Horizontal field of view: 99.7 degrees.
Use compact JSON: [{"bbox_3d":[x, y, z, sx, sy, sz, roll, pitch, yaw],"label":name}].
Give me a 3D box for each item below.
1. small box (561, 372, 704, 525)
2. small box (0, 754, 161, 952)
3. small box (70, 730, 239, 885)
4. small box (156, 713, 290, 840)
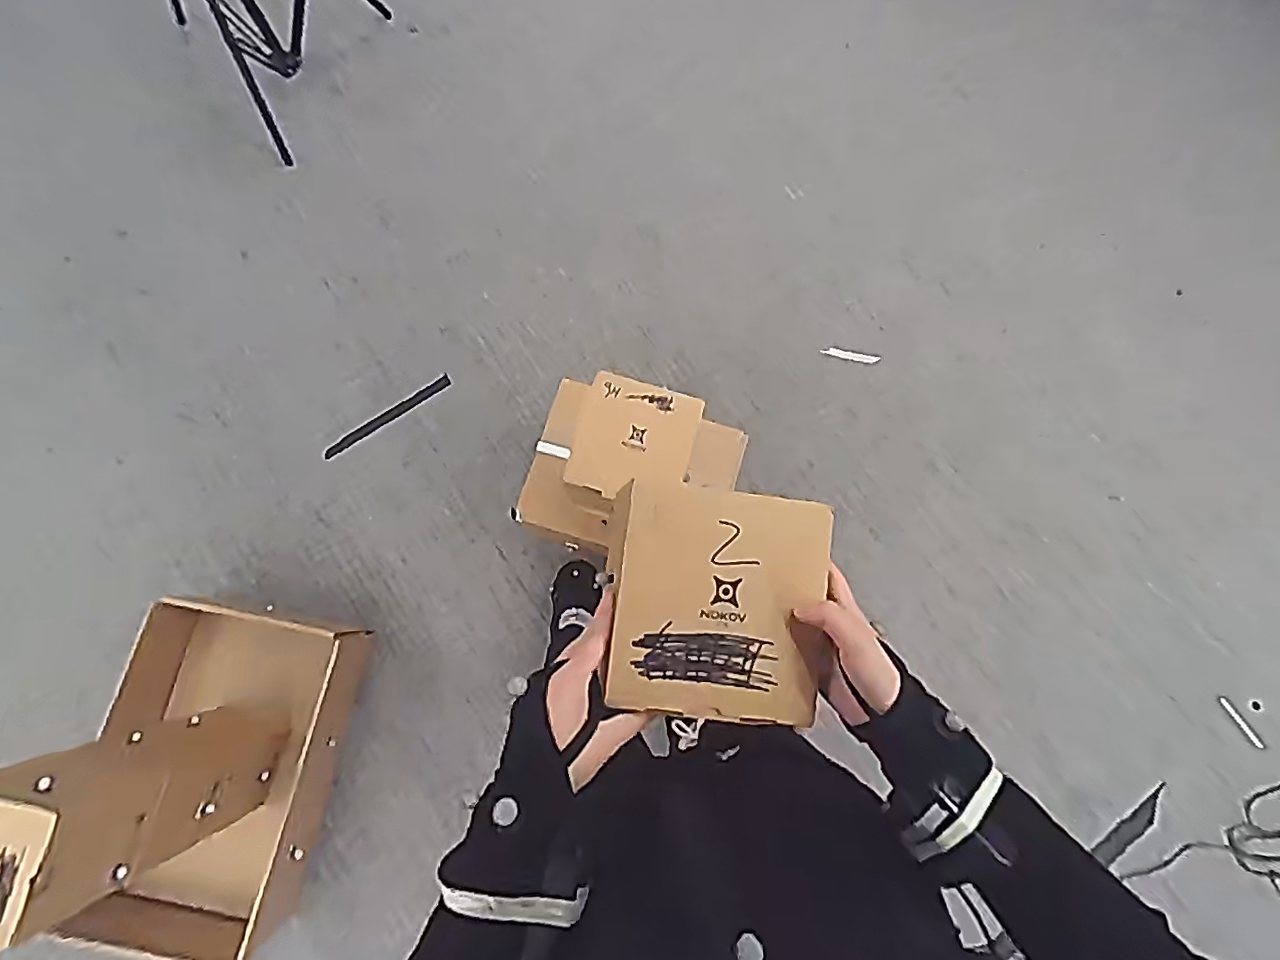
[{"bbox_3d":[-0.011,-0.038,0.842,0.168,0.176,0.179,17,78,0],"label":"small box"},{"bbox_3d":[-0.859,0.517,0.777,0.179,0.176,0.168,12,78,1],"label":"small box"},{"bbox_3d":[-0.861,0.551,0.938,0.179,0.176,0.168,14,78,0],"label":"small box"},{"bbox_3d":[-0.867,0.587,1.096,0.179,0.176,0.168,15,78,1],"label":"small box"}]
